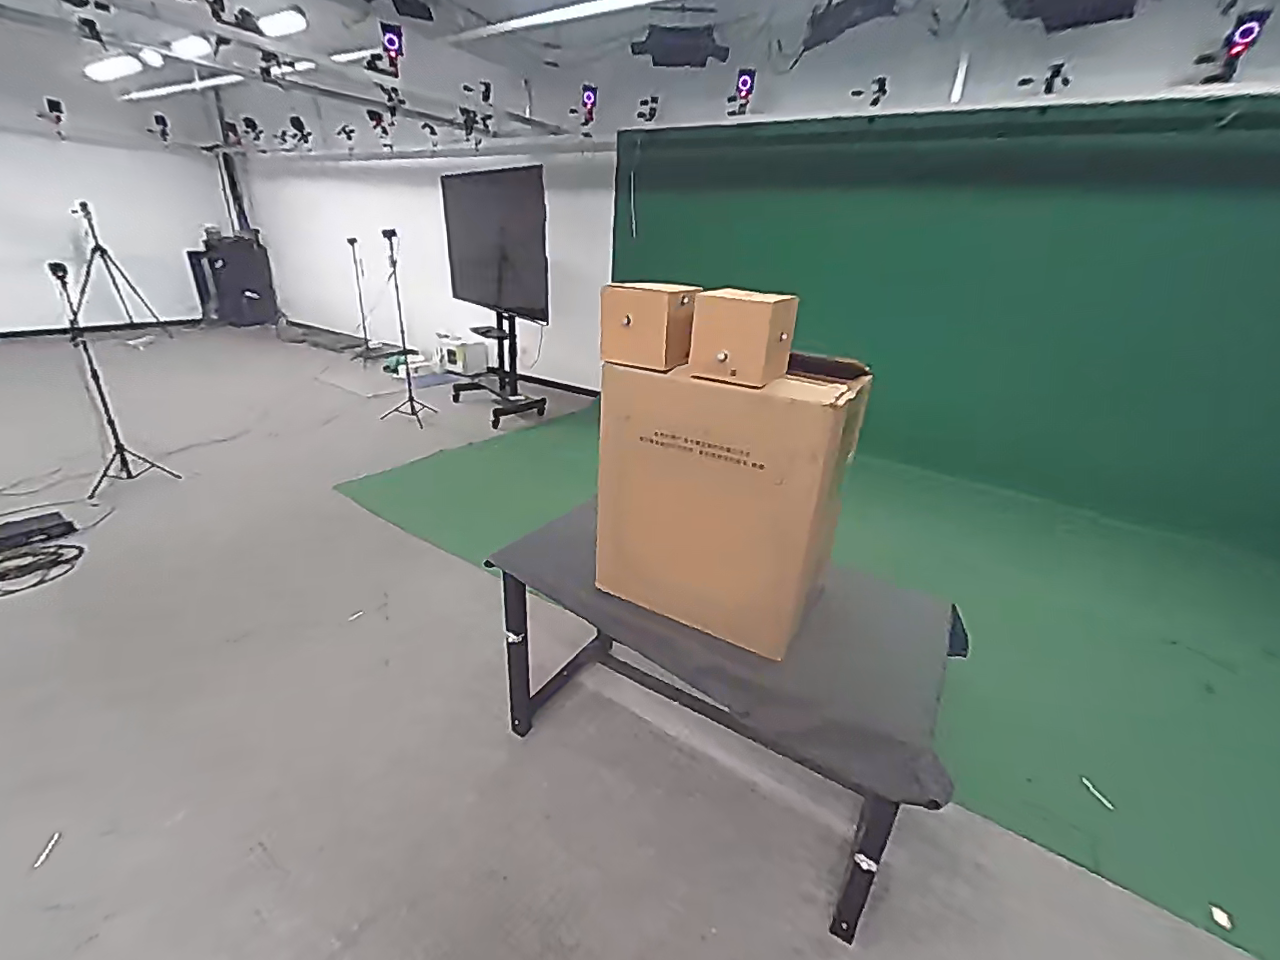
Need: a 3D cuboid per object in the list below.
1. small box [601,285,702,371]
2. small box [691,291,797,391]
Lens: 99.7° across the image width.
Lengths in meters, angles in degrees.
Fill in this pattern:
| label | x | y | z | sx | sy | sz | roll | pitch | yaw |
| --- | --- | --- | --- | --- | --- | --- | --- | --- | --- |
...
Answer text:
| label | x | y | z | sx | sy | sz | roll | pitch | yaw |
| --- | --- | --- | --- | --- | --- | --- | --- | --- | --- |
| small box | 0.024 | -0.353 | 1.245 | 0.179 | 0.176 | 0.168 | 16 | 27 | 27 |
| small box | 0.218 | -0.301 | 1.154 | 0.168 | 0.176 | 0.179 | 17 | 28 | 26 |
